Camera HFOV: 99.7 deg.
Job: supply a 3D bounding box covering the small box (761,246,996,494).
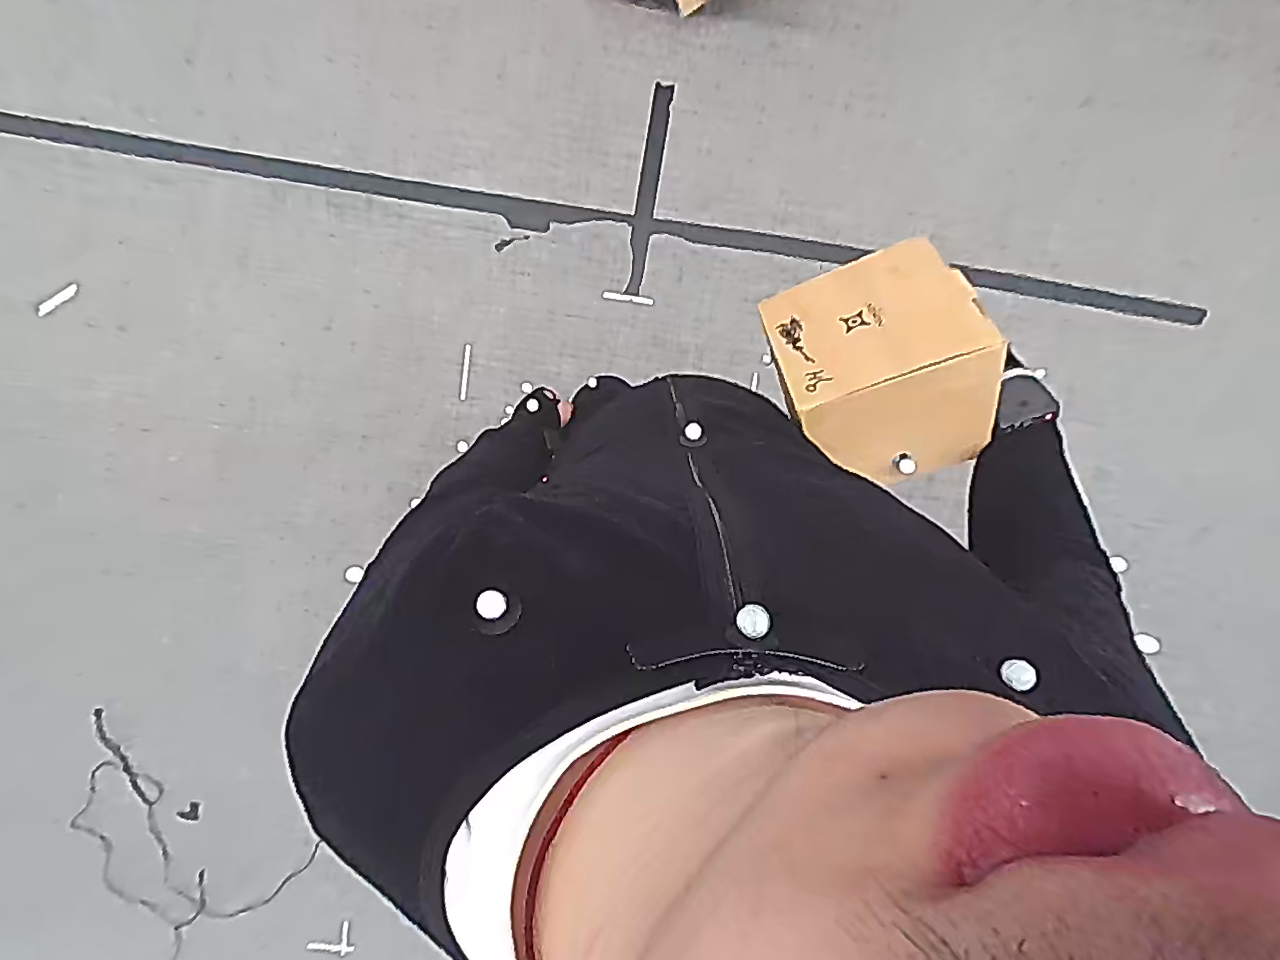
[{"bbox_3d":[0.250,-0.111,0.593,0.179,0.168,0.176,-18,141,14],"label":"small box"}]
